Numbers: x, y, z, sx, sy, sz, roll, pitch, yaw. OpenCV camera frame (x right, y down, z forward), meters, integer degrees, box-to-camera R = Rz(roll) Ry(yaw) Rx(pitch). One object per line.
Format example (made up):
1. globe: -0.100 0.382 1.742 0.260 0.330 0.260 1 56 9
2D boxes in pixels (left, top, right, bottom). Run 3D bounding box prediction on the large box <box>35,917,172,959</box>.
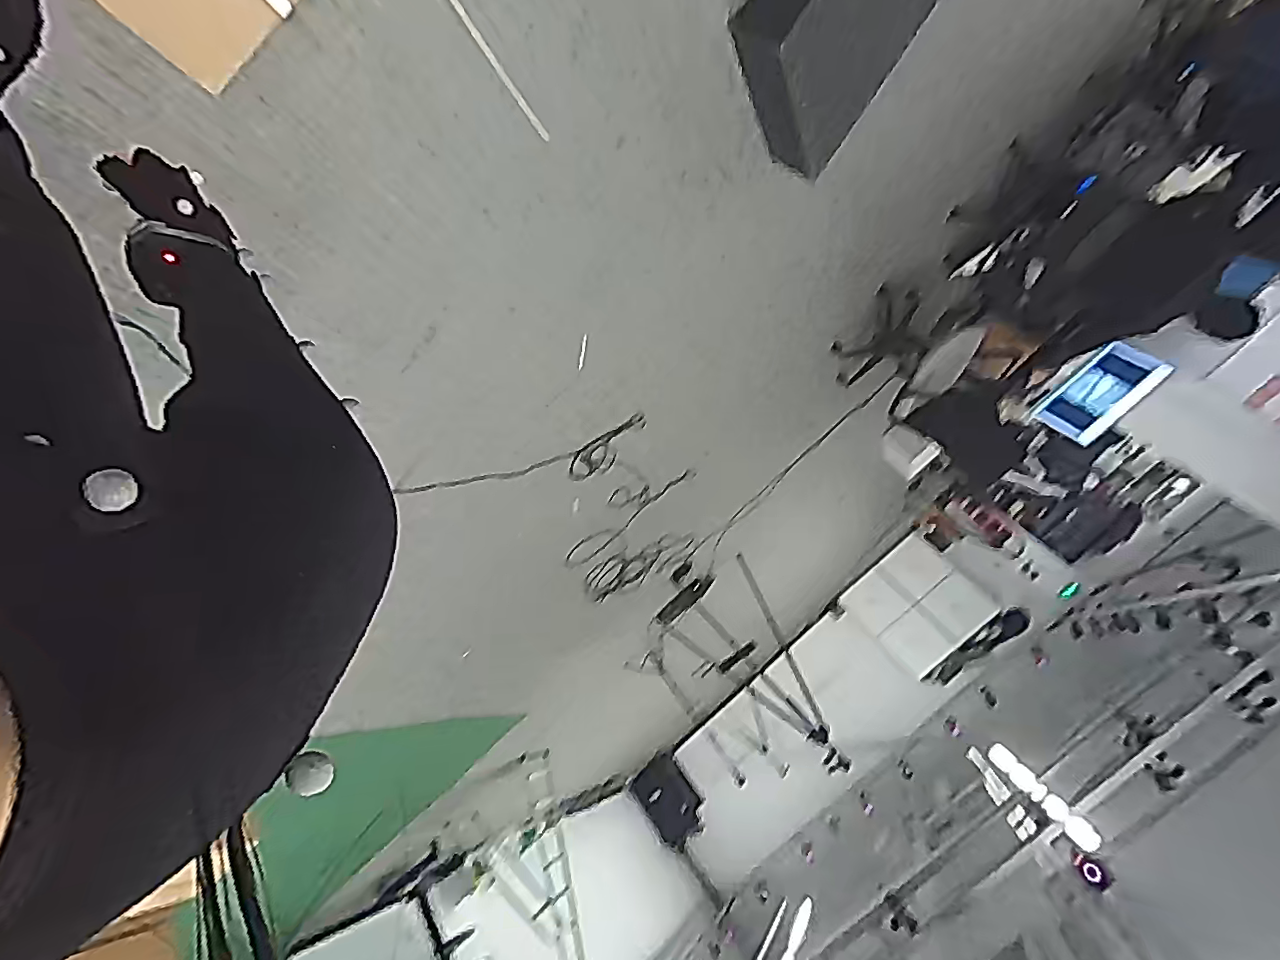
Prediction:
1. large box: -1.744 1.647 1.640 0.320 0.320 0.408 -39 152 2
